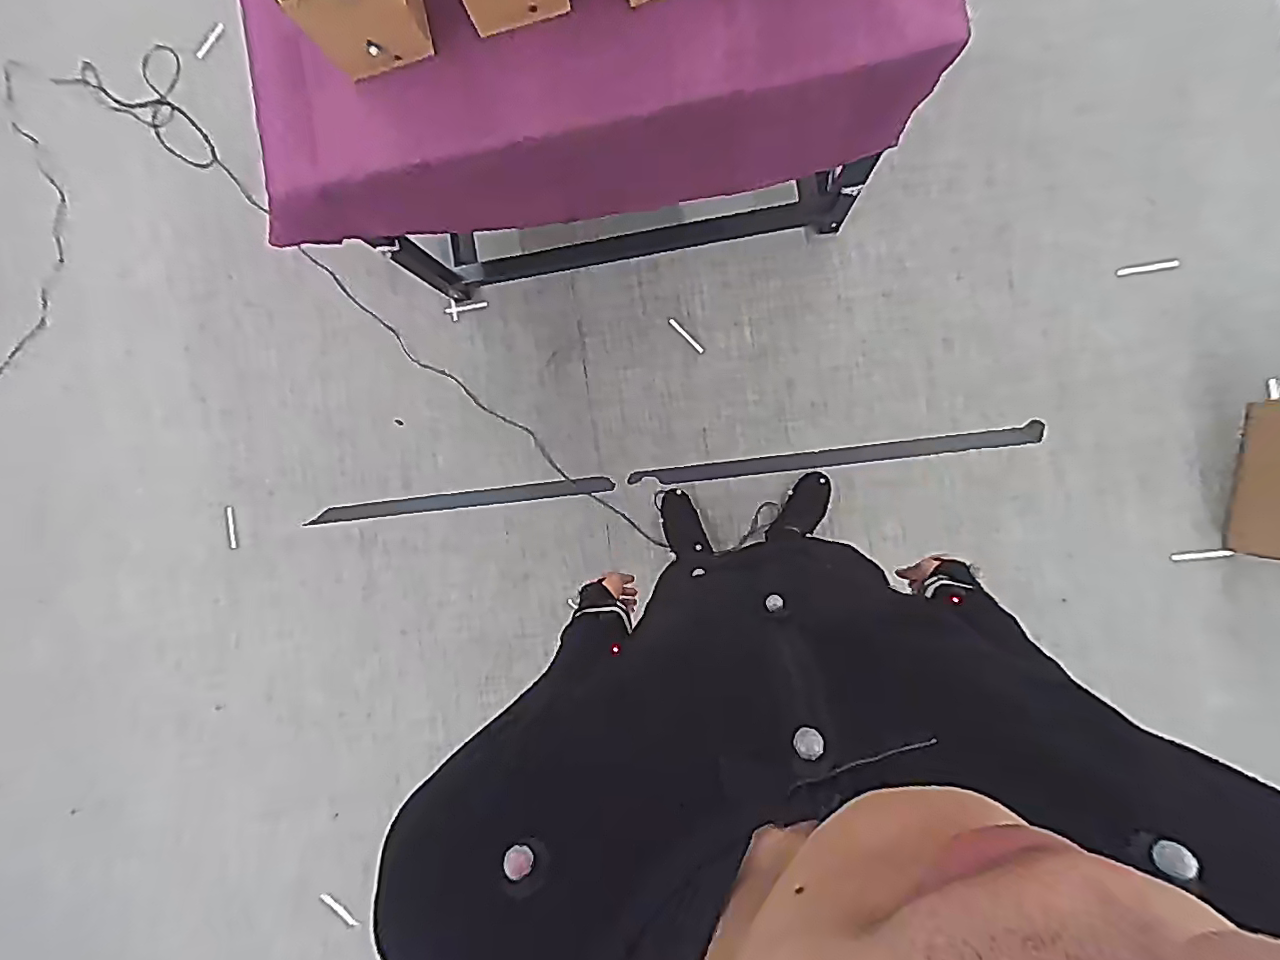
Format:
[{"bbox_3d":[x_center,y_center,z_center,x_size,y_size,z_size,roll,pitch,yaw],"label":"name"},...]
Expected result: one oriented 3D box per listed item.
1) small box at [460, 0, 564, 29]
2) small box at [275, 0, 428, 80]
[{"bbox_3d":[-0.226,-0.859,0.845,0.168,0.176,0.179,-11,89,6],"label":"small box"},{"bbox_3d":[-0.469,-0.804,0.871,0.168,0.176,0.179,-12,90,7],"label":"small box"}]
